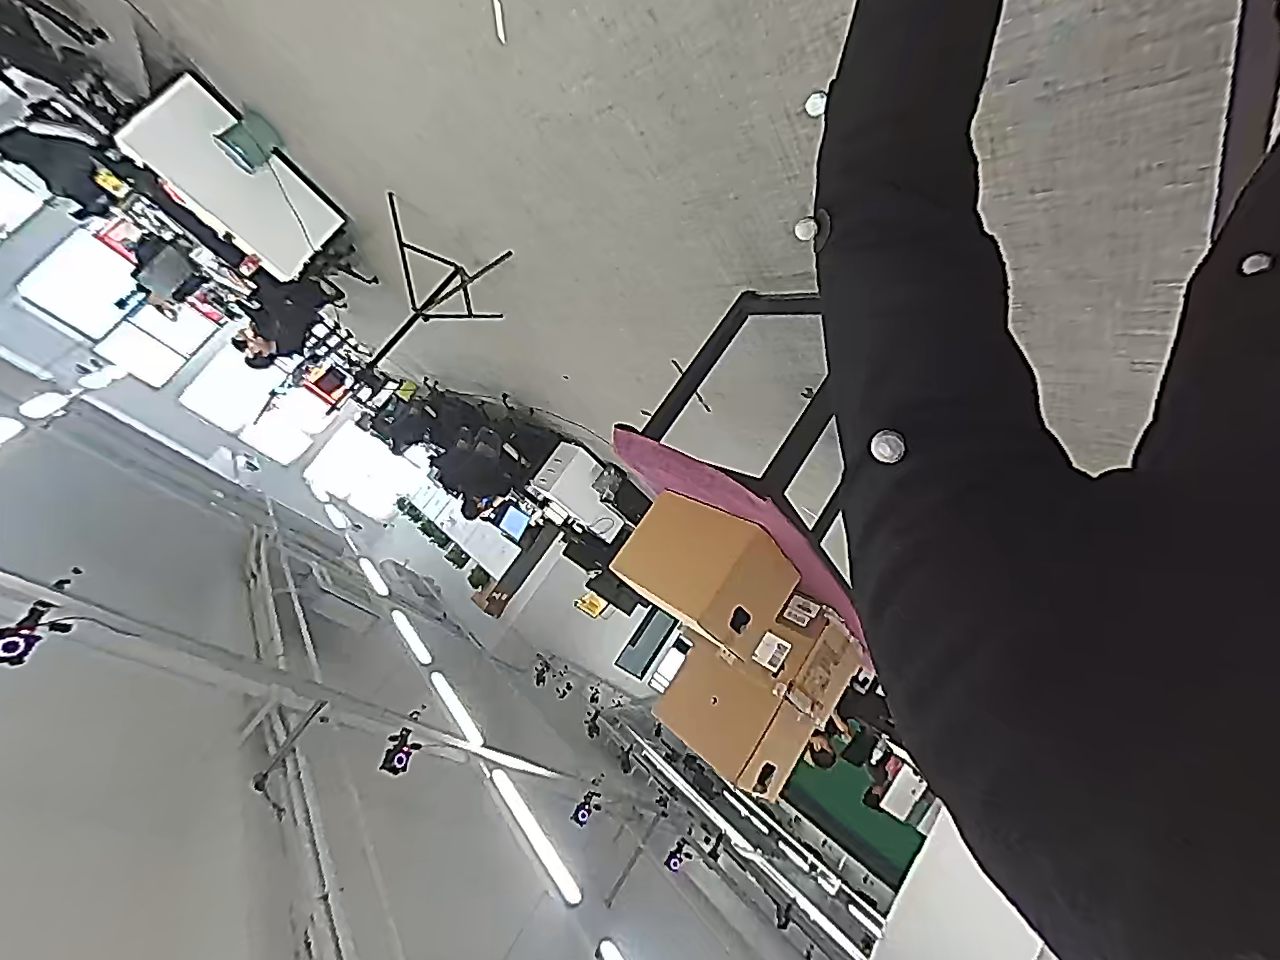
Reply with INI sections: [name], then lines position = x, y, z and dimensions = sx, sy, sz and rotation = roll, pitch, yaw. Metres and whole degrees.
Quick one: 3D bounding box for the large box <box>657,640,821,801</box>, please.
[large box]
position = 0.341, 0.822, 1.885
dimensions = 0.408, 0.320, 0.320
rotation = 20, 162, 50
